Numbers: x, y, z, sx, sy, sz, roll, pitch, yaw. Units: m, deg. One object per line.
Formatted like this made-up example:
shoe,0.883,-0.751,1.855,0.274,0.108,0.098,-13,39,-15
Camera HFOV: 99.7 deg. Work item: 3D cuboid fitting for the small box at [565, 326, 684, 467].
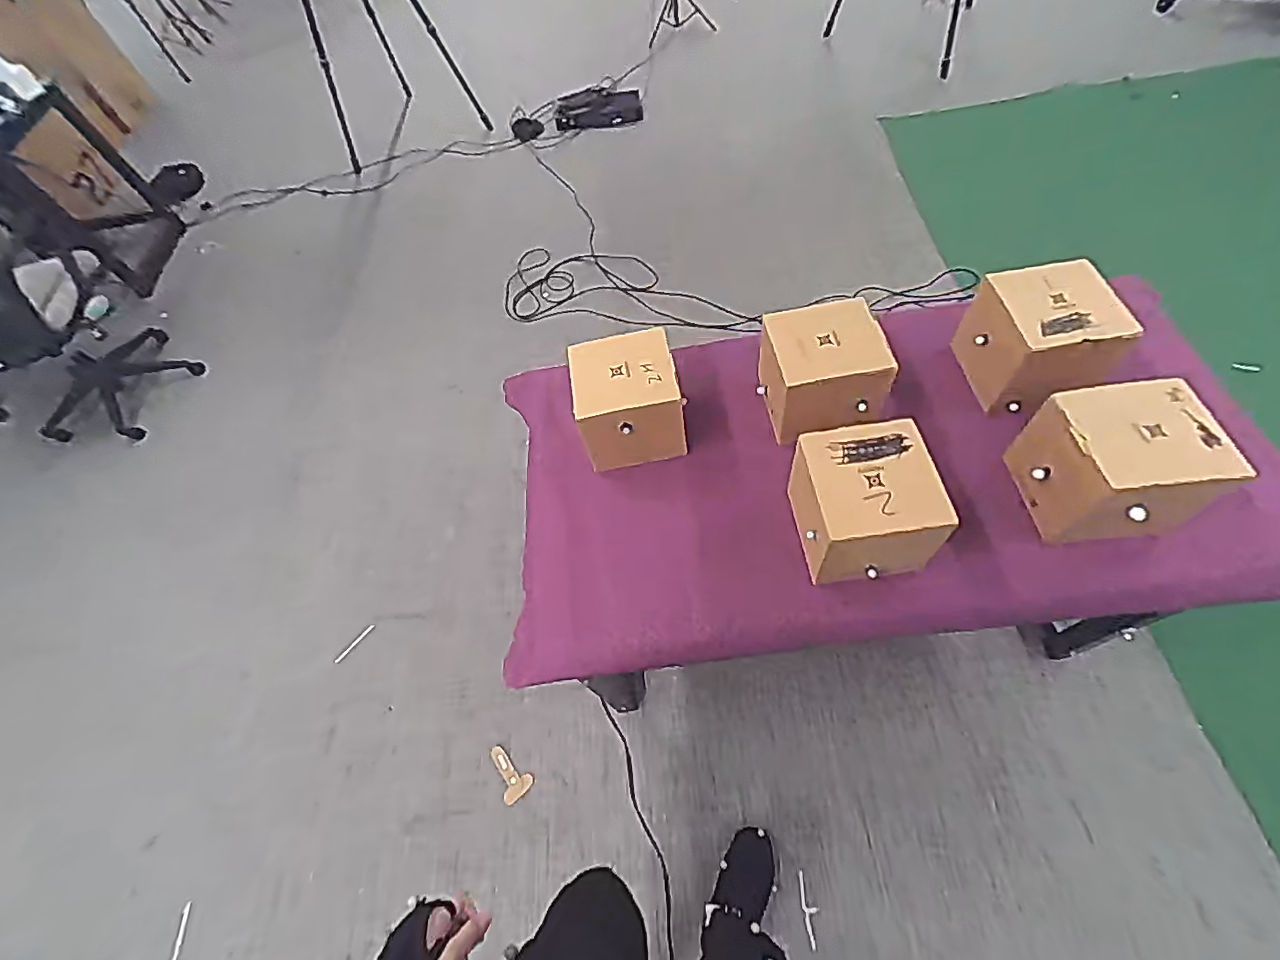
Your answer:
small box,-0.024,-0.140,0.955,0.179,0.176,0.168,-10,59,3

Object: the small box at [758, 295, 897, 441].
small box,0.309,-0.187,0.934,0.179,0.176,0.168,-9,58,4

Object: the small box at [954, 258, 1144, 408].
small box,0.664,-0.236,0.906,0.168,0.176,0.179,-7,57,5

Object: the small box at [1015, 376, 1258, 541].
small box,0.679,-0.023,0.777,0.179,0.176,0.168,-6,58,6
